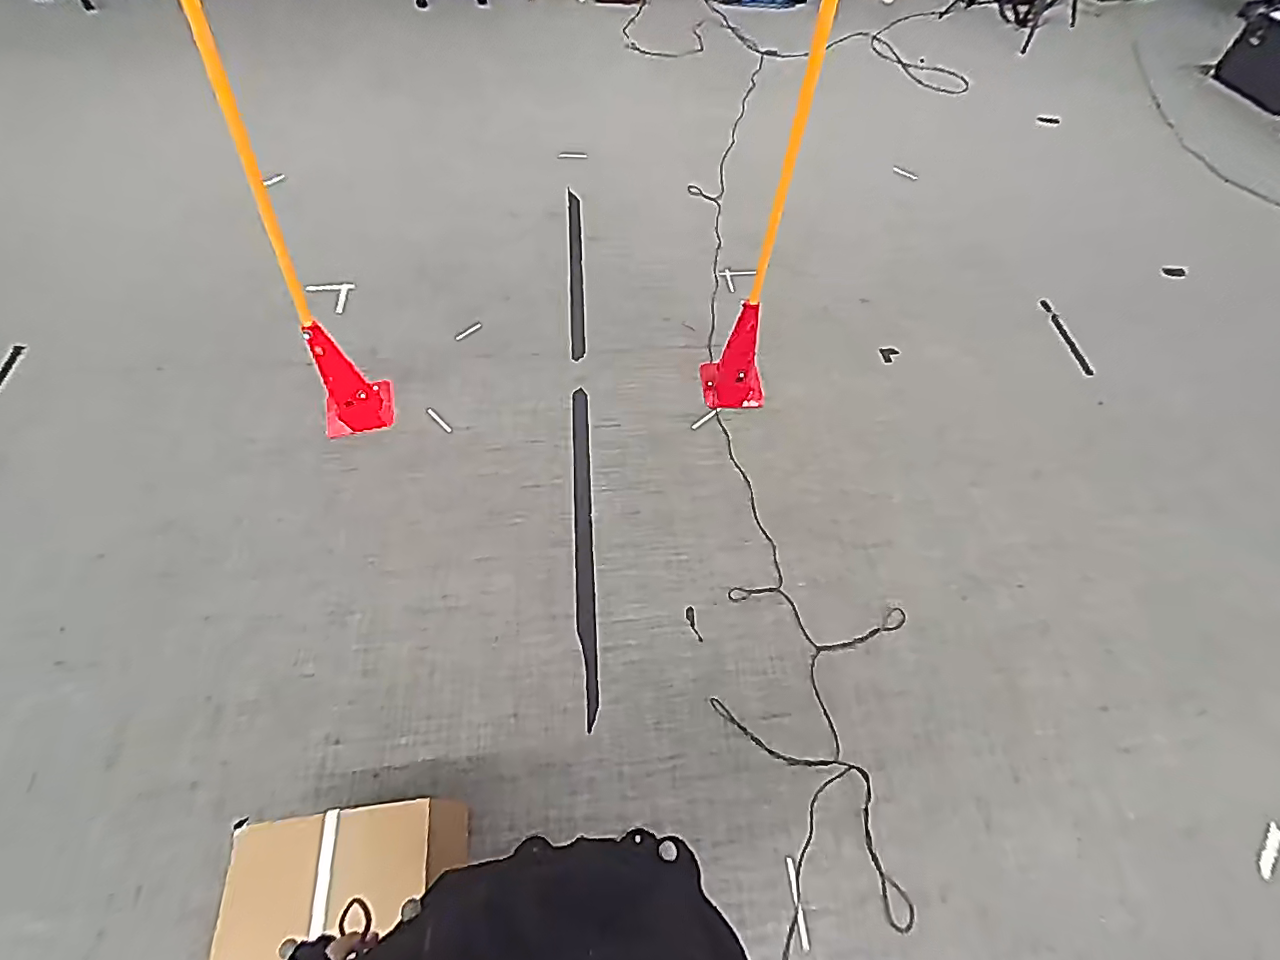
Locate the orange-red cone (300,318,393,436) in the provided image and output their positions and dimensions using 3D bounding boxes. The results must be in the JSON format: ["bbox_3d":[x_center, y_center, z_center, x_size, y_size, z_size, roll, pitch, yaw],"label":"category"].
[{"bbox_3d":[-0.882,-0.318,1.569,0.199,0.360,0.198,-11,59,-8],"label":"orange-red cone"}]
